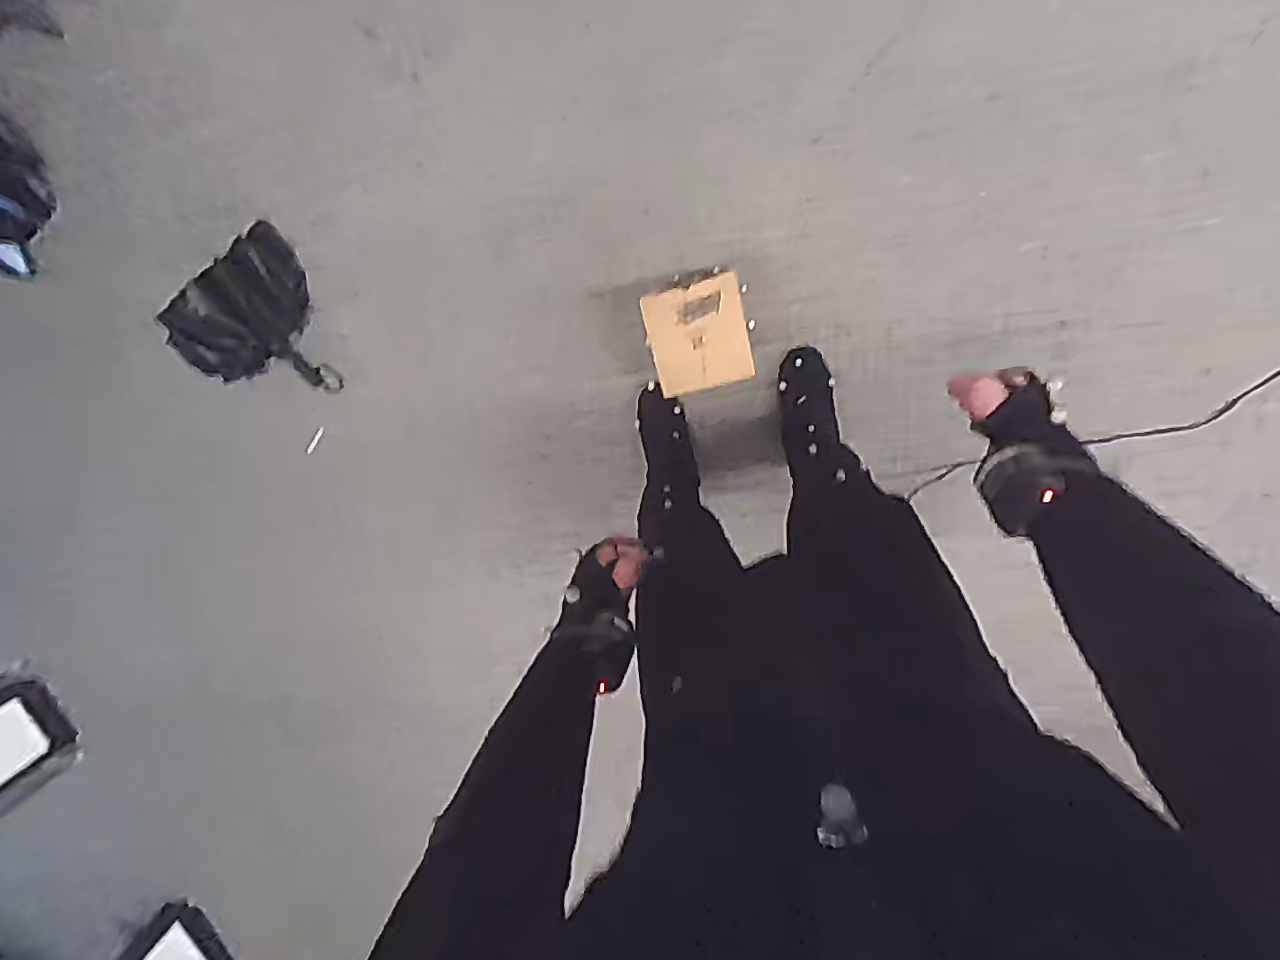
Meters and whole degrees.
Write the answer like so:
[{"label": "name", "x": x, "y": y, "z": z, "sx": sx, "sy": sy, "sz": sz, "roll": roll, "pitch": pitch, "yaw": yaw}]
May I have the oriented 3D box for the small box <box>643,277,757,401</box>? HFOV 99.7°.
[{"label": "small box", "x": 0.113, "y": -0.261, "z": 0.986, "sx": 0.168, "sy": 0.176, "sz": 0.179, "roll": -11, "pitch": 109, "yaw": 14}]
